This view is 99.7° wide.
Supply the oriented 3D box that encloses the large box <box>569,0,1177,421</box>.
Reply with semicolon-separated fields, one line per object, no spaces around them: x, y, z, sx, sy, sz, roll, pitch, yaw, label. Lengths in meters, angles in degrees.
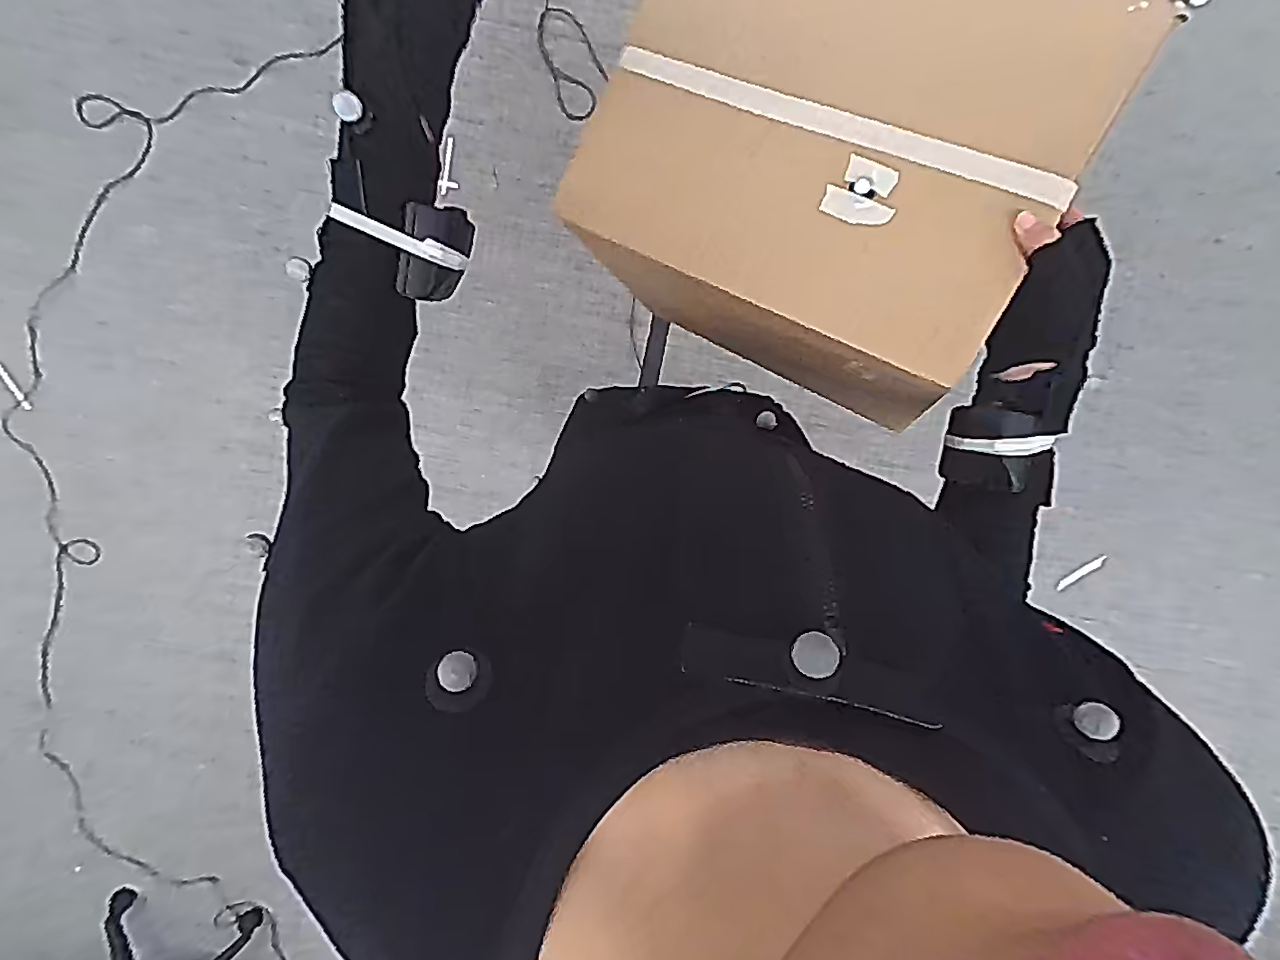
0.205;-0.307;0.611;0.408;0.320;0.320;32;99;17;large box
